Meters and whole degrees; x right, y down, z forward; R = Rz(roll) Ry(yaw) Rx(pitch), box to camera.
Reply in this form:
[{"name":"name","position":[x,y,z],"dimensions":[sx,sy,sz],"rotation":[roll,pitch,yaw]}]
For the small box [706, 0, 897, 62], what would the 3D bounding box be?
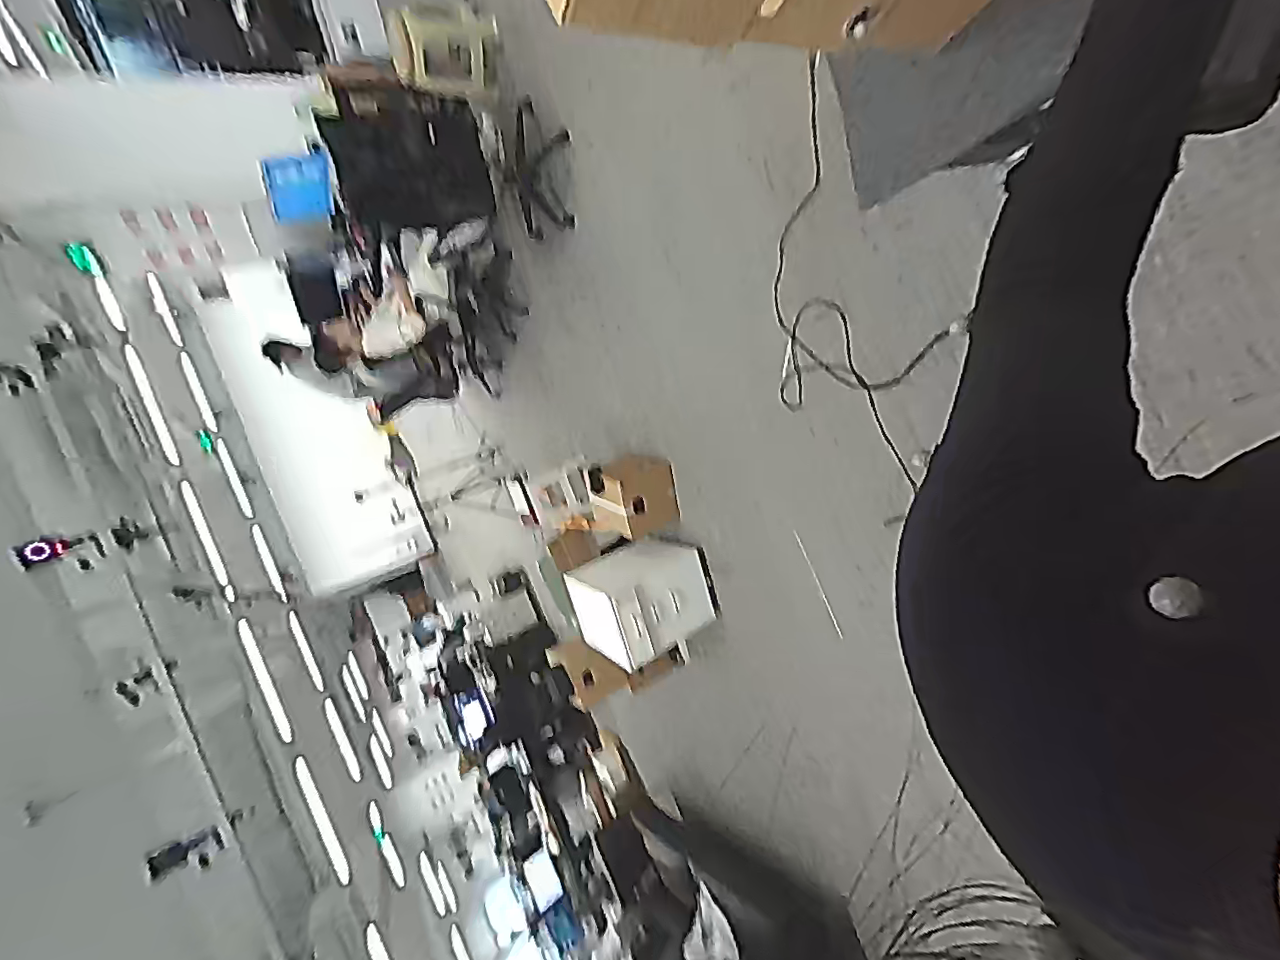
[{"name":"small box","position":[0.151,-0.499,0.458],"dimensions":[0.168,0.176,0.179],"rotation":[-35,76,61]}]
